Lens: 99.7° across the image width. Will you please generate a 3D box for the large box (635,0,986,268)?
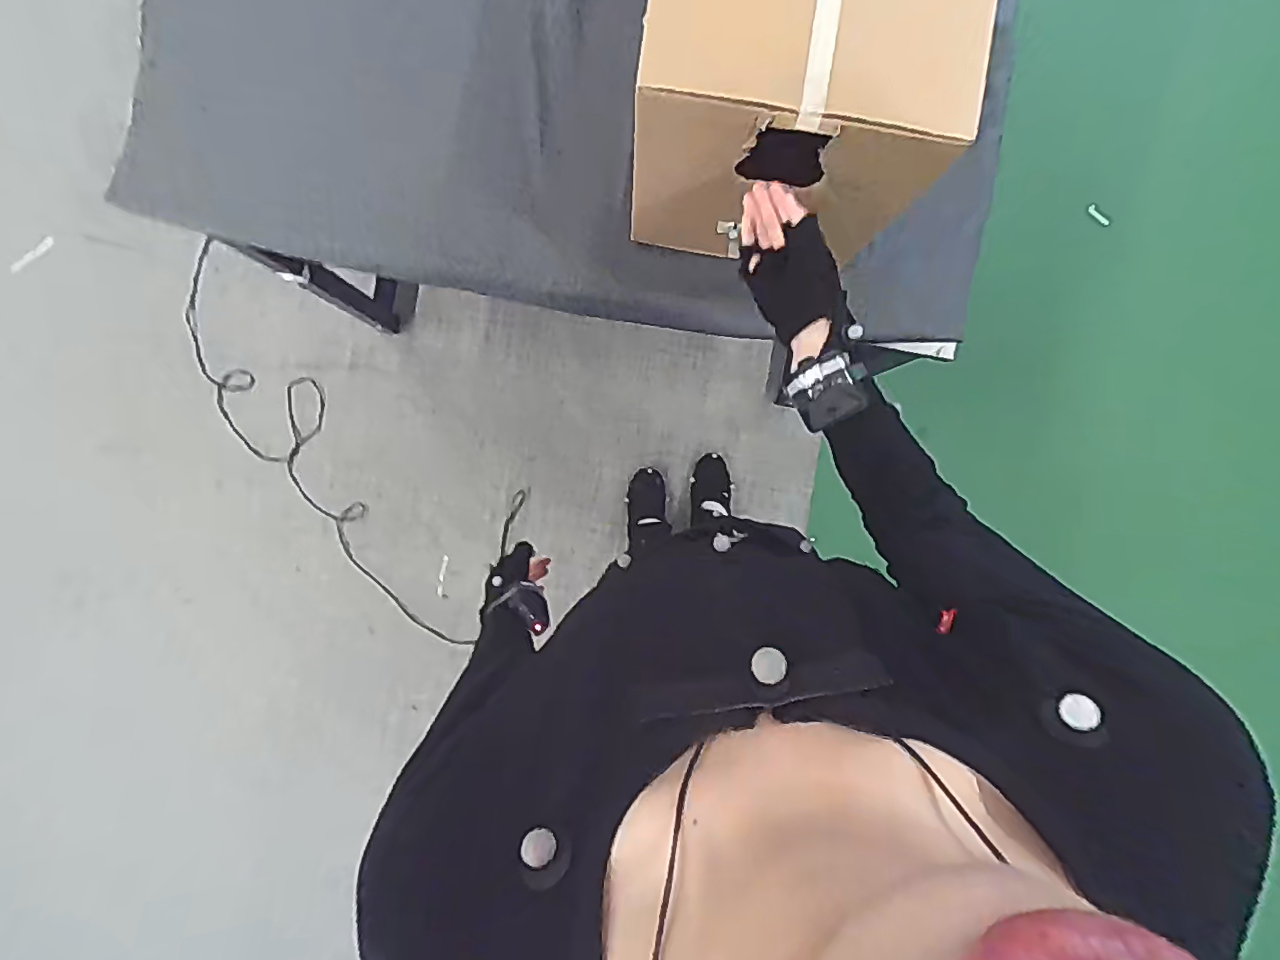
[{"bbox_3d":[0.170,-0.518,0.638,0.320,0.320,0.408,8,89,-1],"label":"large box"}]
